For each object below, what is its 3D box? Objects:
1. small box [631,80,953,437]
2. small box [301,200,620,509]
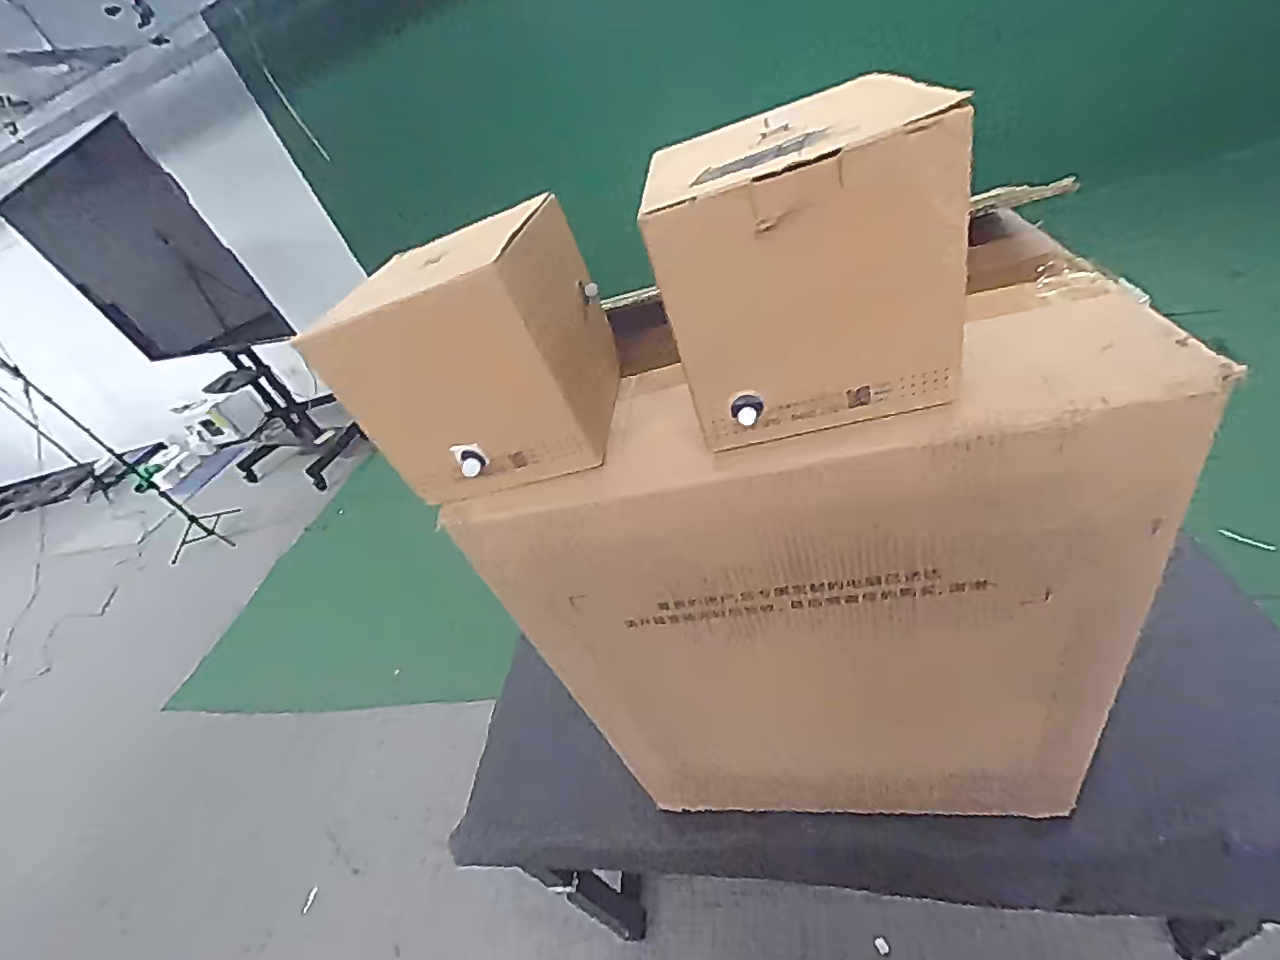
[{"bbox_3d":[0.104,-0.146,0.382,0.168,0.176,0.179,-11,38,15],"label":"small box"},{"bbox_3d":[-0.126,-0.103,0.462,0.168,0.176,0.179,-15,39,17],"label":"small box"}]
